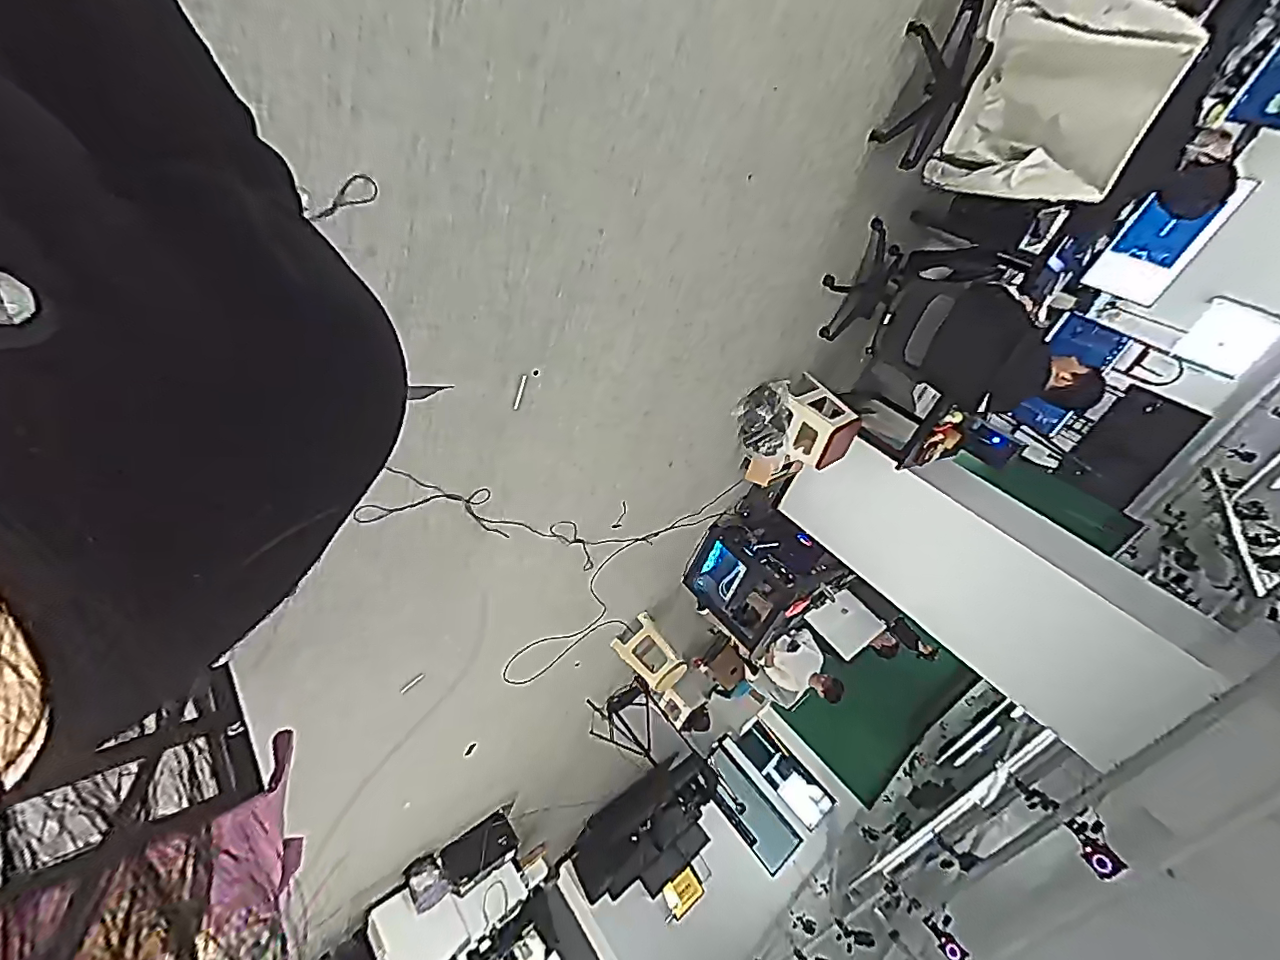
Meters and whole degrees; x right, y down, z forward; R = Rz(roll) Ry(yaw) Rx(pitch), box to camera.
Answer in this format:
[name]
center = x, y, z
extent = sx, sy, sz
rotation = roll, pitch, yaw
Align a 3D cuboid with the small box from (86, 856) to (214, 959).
[small box]
center = -0.995, 0.919, 1.103
extent = 0.168, 0.176, 0.179
rotation = -13, 136, -44
